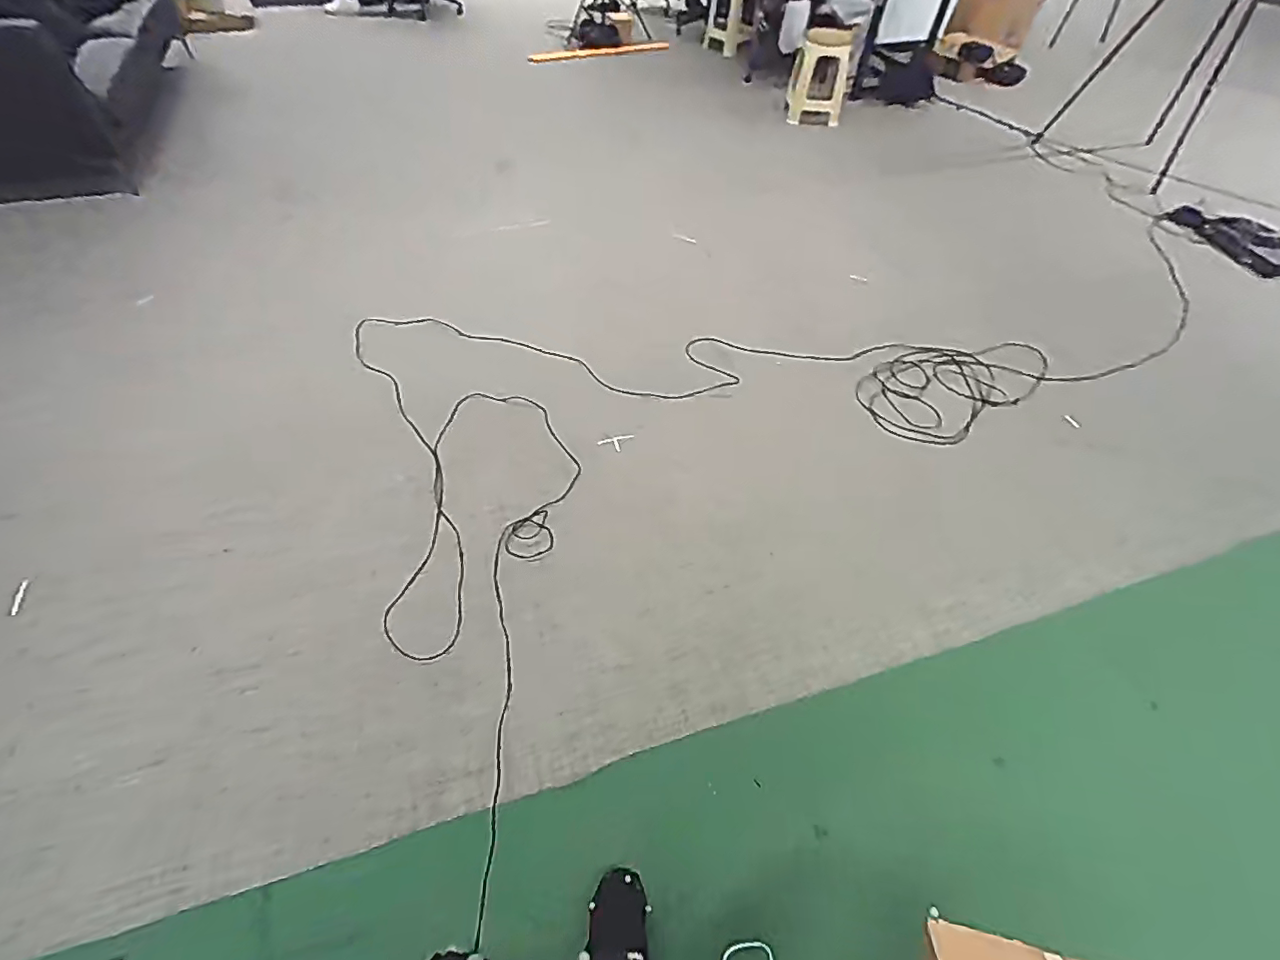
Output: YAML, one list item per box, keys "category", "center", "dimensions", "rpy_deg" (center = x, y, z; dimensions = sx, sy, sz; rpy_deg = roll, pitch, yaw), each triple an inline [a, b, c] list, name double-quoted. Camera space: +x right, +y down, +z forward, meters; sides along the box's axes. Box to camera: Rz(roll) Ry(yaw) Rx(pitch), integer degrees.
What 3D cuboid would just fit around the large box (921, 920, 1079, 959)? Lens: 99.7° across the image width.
- category: "large box"
  center: [0.498, 0.812, 0.568]
  dimensions: [0.320, 0.408, 0.320]
  rpy_deg: [9, 93, 14]
